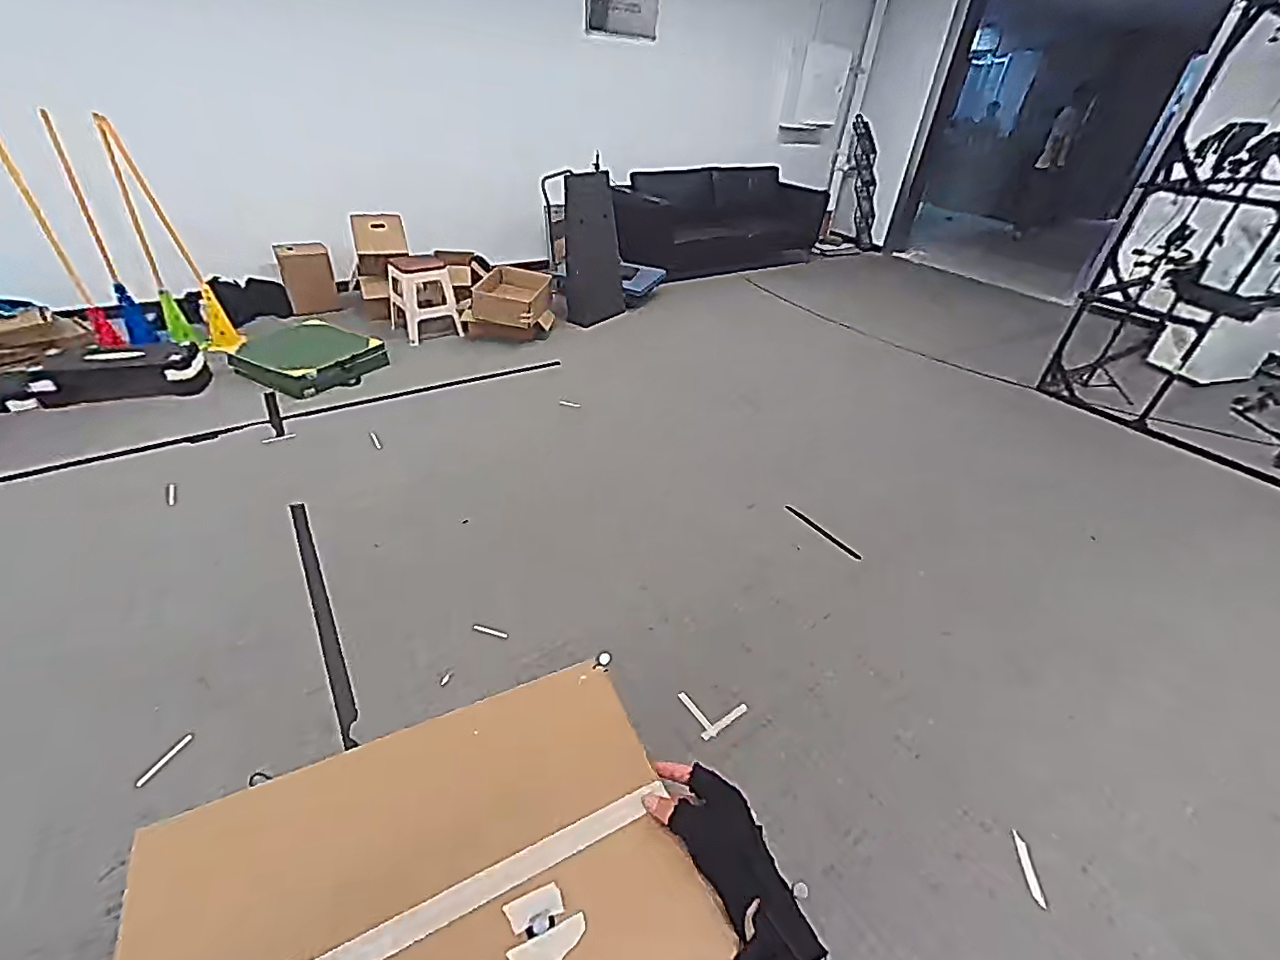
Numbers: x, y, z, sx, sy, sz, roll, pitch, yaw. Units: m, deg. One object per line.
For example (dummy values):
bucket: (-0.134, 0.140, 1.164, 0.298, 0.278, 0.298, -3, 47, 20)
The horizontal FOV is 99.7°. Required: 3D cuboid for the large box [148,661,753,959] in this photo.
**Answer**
large box: (-0.169, 0.453, 0.521, 0.408, 0.320, 0.320, -13, 44, -26)
